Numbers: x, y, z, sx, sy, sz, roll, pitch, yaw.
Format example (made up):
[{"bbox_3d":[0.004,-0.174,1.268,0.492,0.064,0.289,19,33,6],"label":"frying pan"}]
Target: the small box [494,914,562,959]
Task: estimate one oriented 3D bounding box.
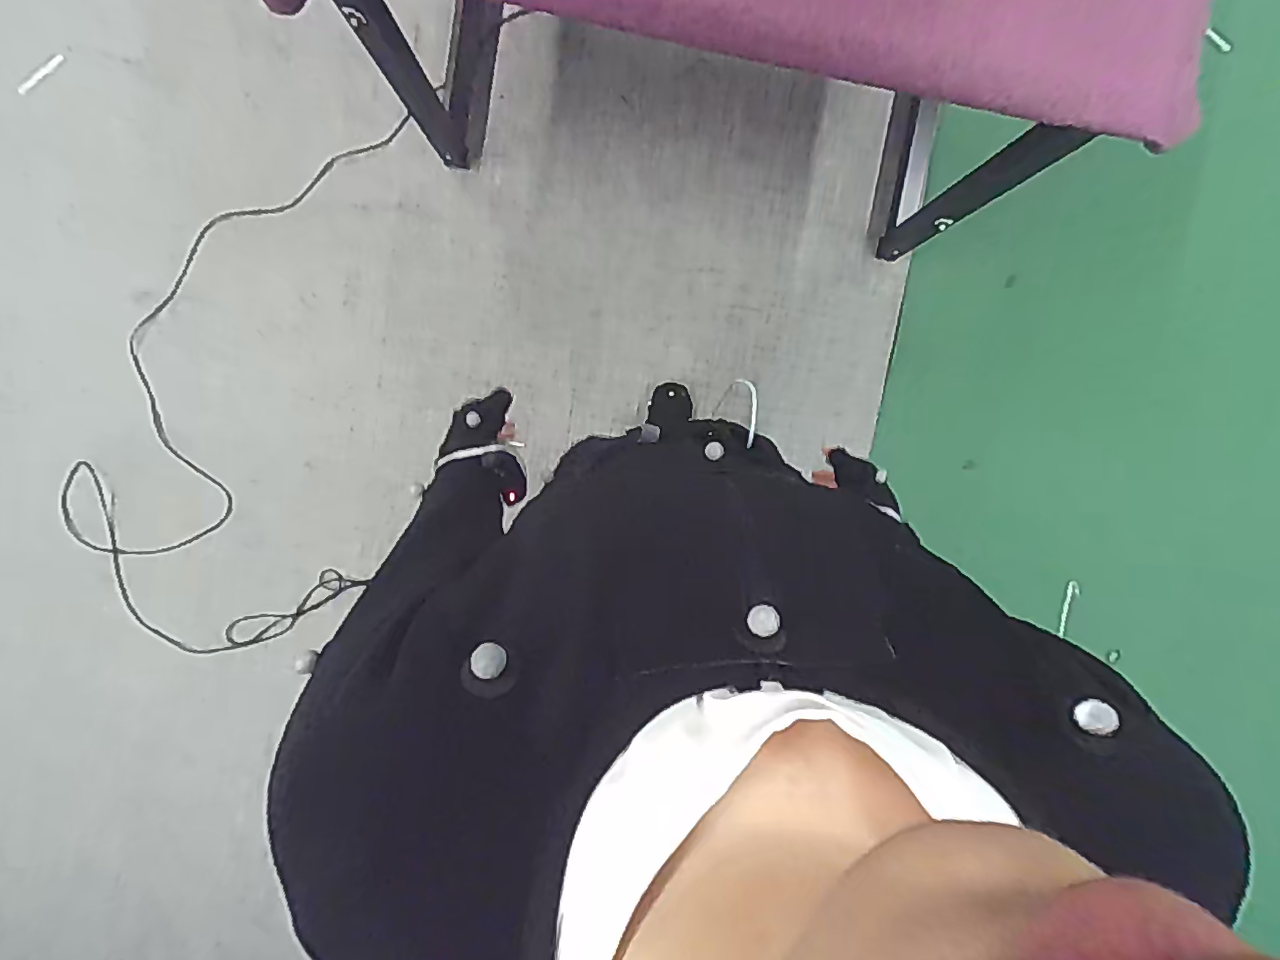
[{"bbox_3d":[-0.308,1.320,1.447,0.168,0.176,0.179,8,96,-2],"label":"small box"}]
